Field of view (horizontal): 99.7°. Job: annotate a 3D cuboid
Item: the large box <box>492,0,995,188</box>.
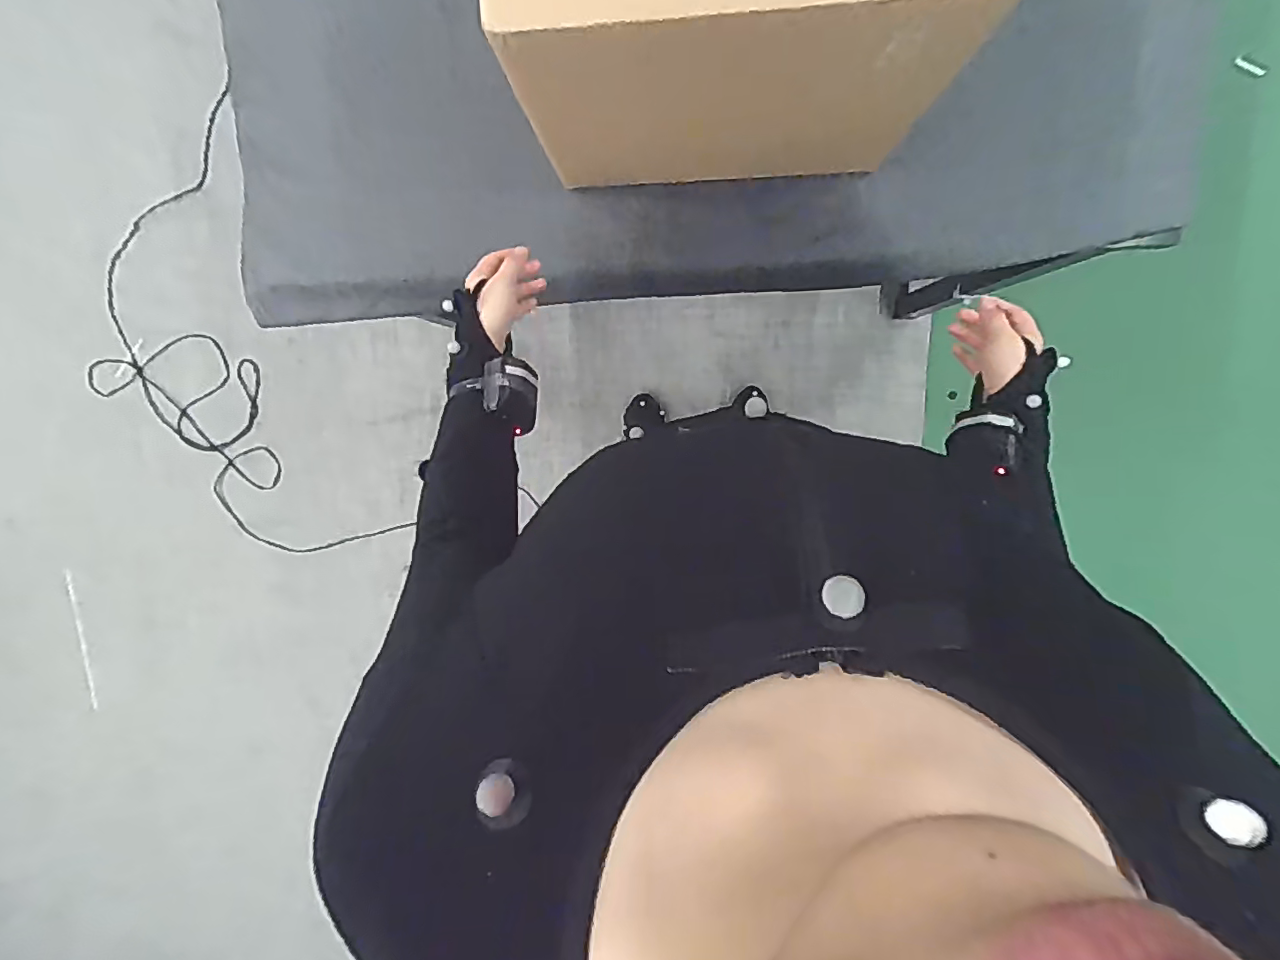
[{"bbox_3d":[0.079,-0.526,0.541,0.408,0.320,0.320,-2,99,3],"label":"large box"}]
